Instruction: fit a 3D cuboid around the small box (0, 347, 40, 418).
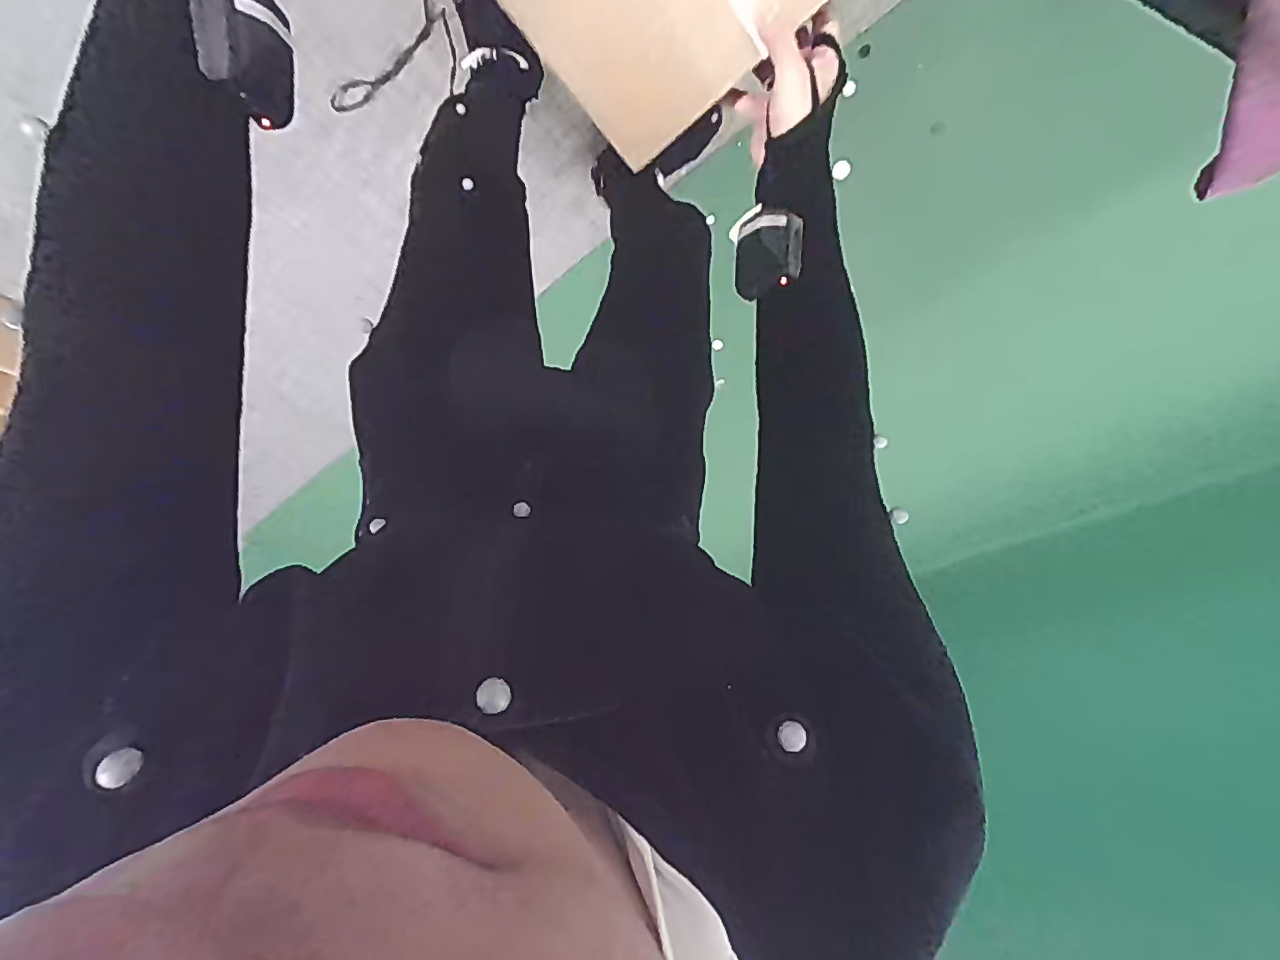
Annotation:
[{"bbox_3d":[-1.662,-0.234,1.339,0.179,0.176,0.168,-25,140,24],"label":"small box"}]
